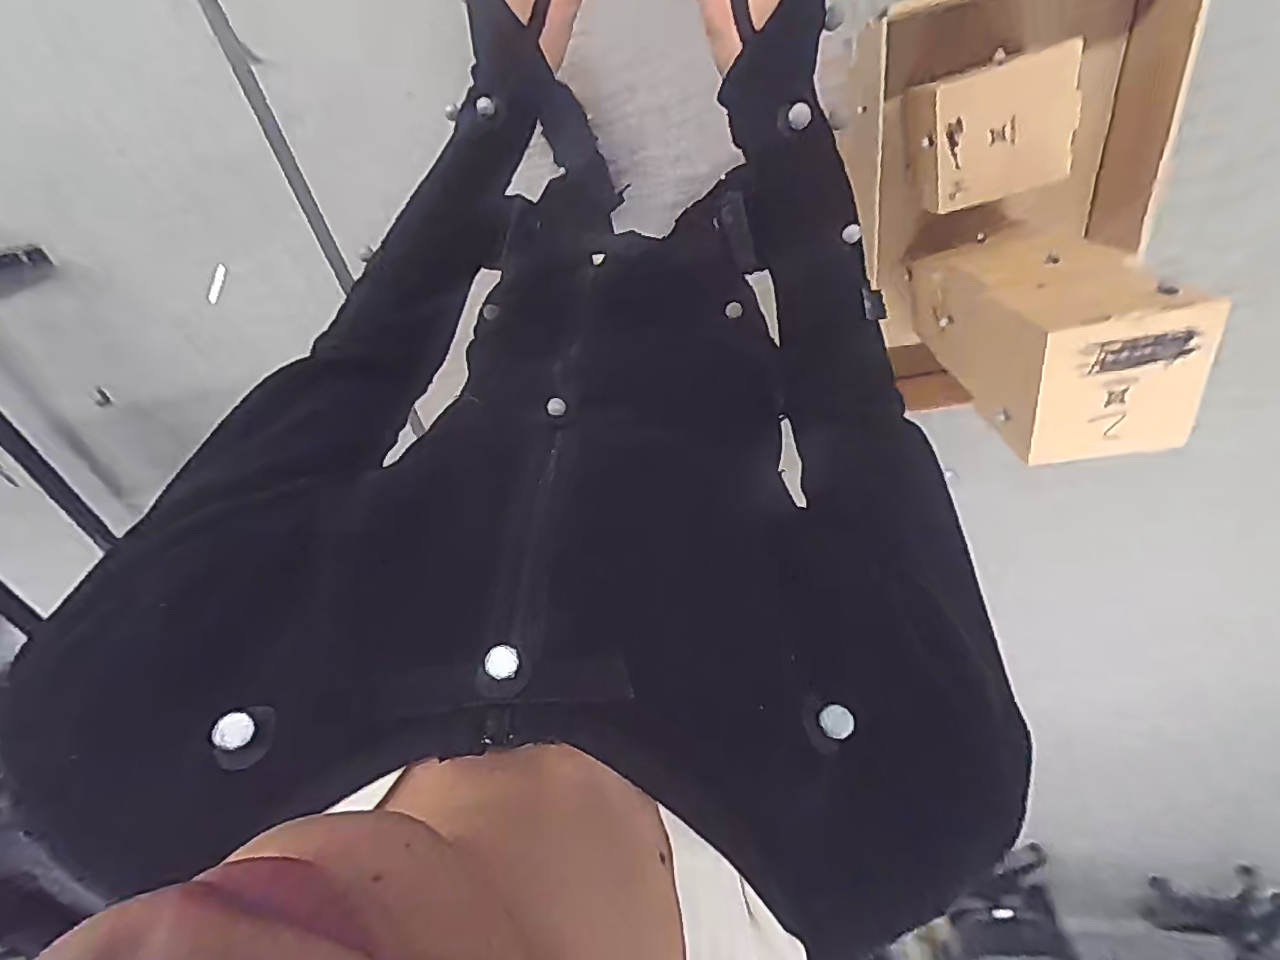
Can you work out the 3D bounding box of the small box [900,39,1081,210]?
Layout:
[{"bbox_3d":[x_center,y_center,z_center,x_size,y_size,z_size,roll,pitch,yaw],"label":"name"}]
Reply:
[{"bbox_3d":[0.513,-0.530,0.818,0.179,0.176,0.168,-11,121,14],"label":"small box"}]

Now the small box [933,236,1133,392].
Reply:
[{"bbox_3d":[0.562,-0.249,0.802,0.179,0.176,0.168,-7,121,13],"label":"small box"}]
